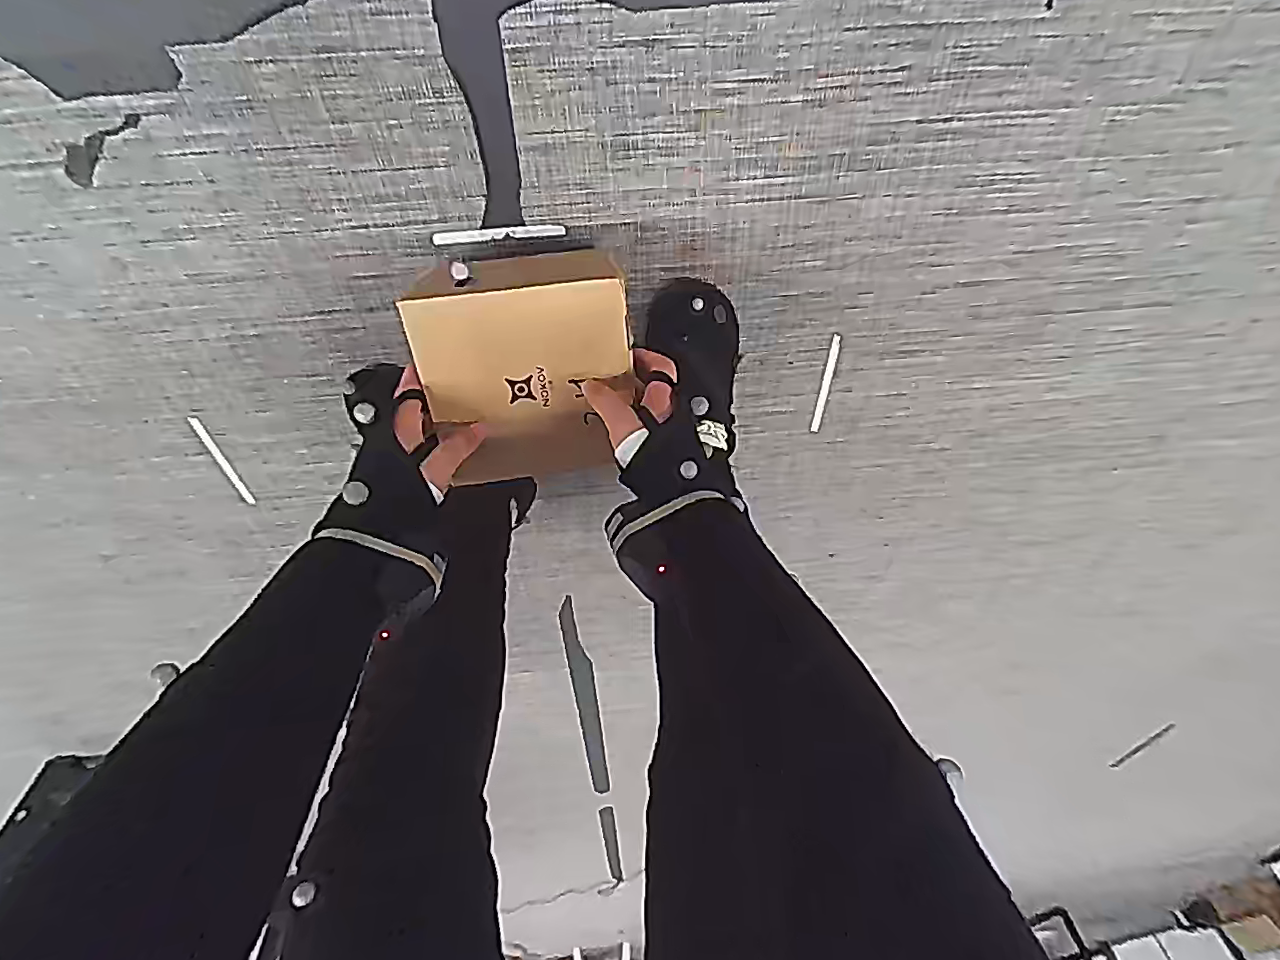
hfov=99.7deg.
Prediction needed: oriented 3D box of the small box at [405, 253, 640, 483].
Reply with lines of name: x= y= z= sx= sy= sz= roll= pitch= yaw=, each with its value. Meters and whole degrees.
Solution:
small box: x=-0.102 y=-0.117 z=0.527 sx=0.179 sy=0.176 sz=0.168 roll=-9 pitch=122 yaw=-6
